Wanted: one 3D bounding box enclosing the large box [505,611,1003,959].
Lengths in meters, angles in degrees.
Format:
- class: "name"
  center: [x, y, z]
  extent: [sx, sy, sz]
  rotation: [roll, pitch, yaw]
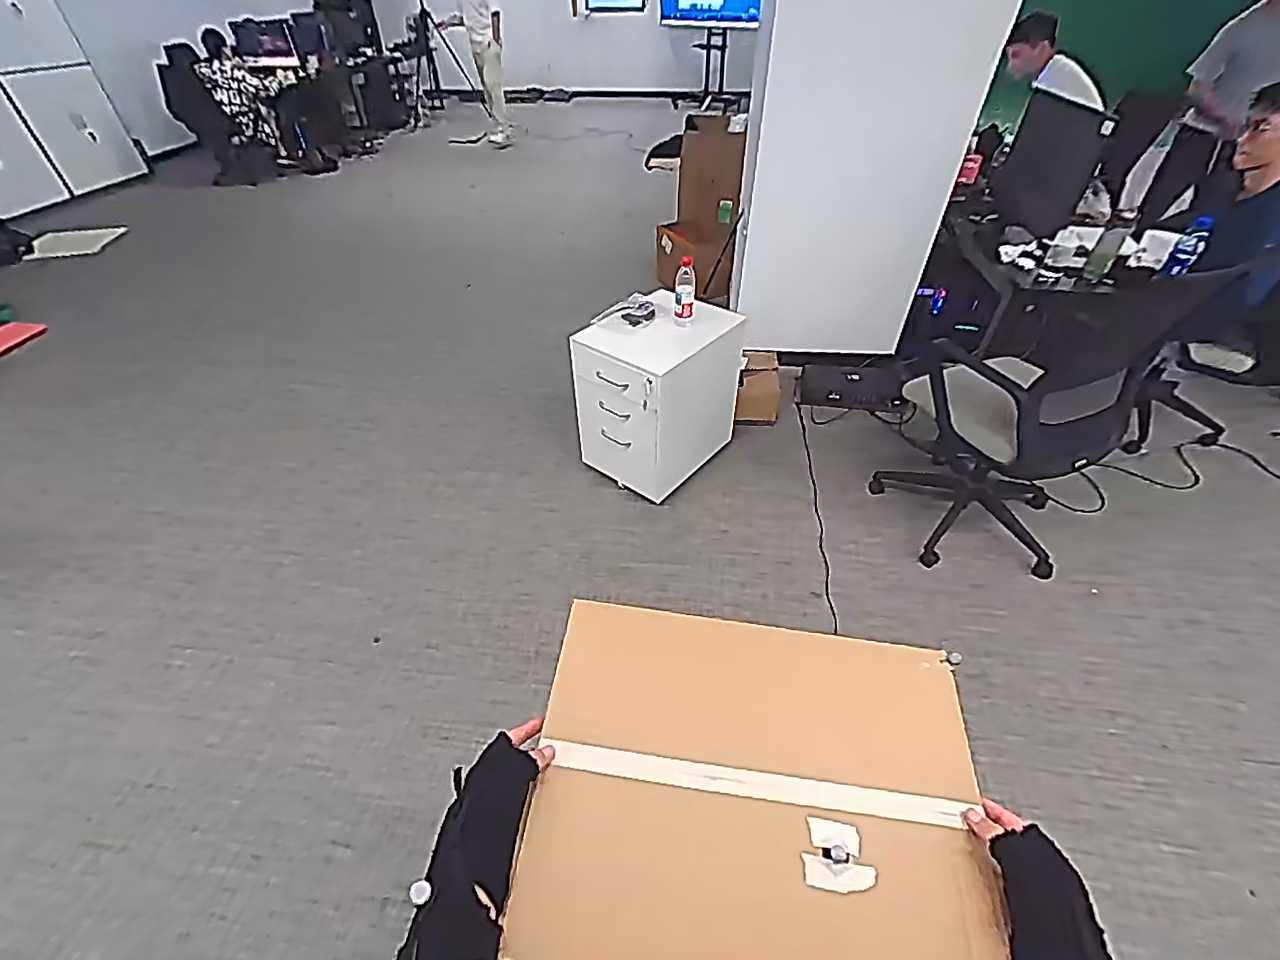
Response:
- class: "large box"
  center: [0.101, 0.380, 0.619]
  extent: [0.408, 0.320, 0.320]
  rotation: [8, 51, 4]
